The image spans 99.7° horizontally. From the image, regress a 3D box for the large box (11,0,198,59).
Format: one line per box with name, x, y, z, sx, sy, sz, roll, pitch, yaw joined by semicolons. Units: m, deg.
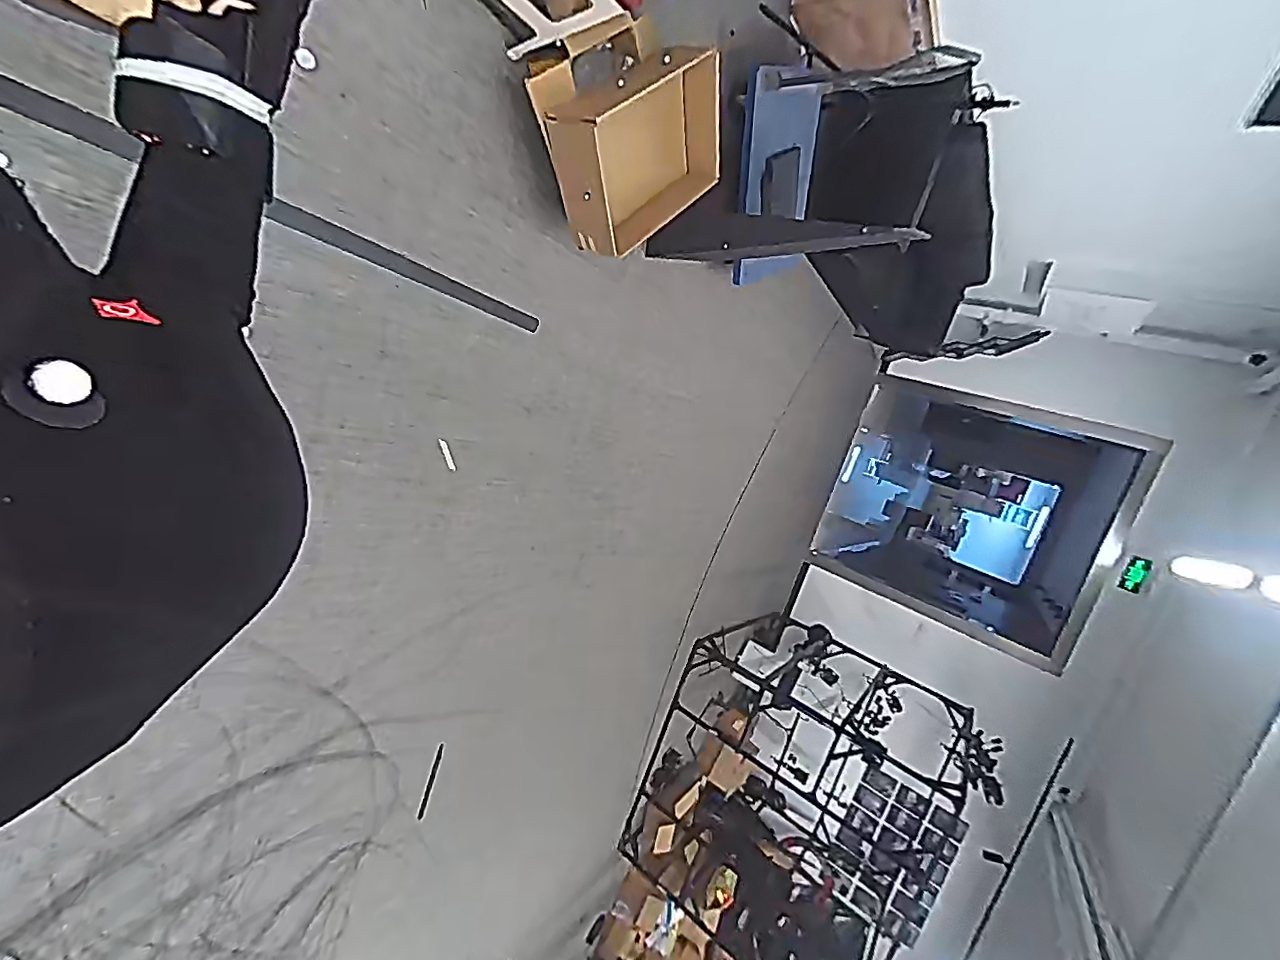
large box;-0.464;-0.483;0.224;0.408;0.320;0.320;-1;120;-61
